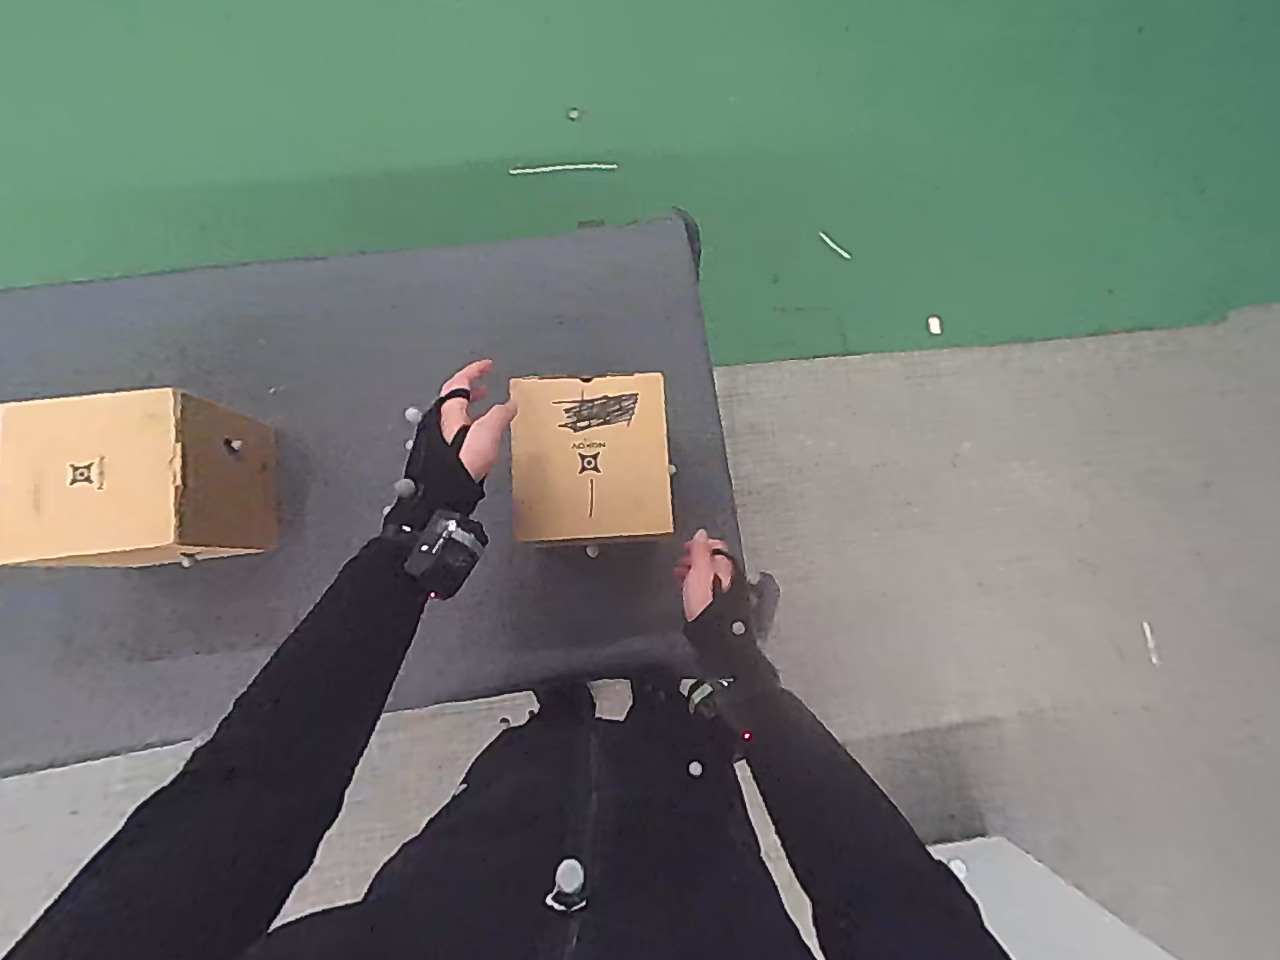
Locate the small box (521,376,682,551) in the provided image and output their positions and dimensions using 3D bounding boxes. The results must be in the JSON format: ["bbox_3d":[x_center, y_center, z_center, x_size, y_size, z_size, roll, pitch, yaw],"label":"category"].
[{"bbox_3d":[-0.046,-0.010,0.635,0.168,0.176,0.179,-2,81,-4],"label":"small box"}]

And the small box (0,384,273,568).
[{"bbox_3d":[-0.542,0.005,0.600,0.179,0.176,0.168,-7,79,-4],"label":"small box"}]
